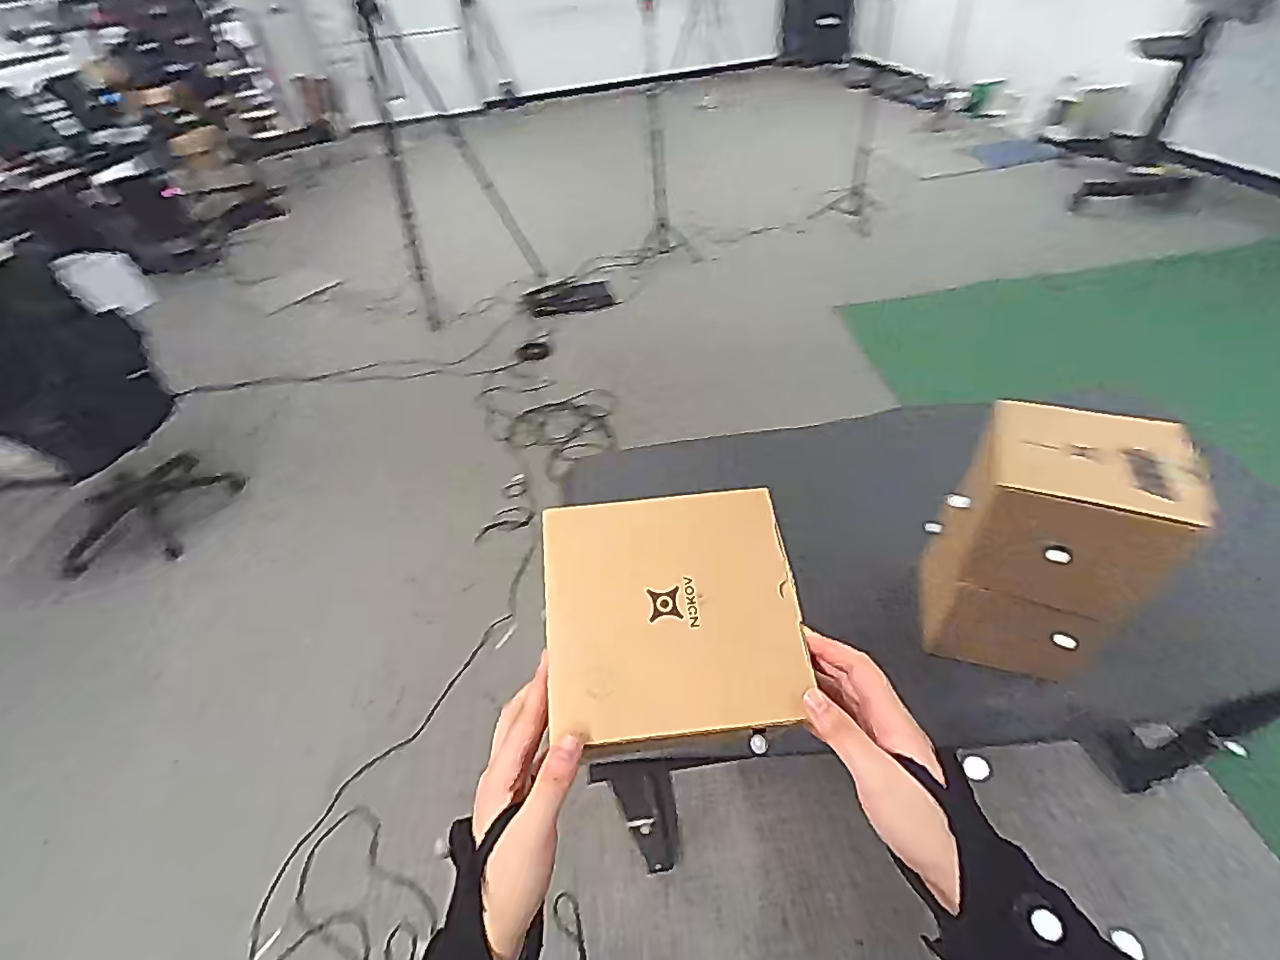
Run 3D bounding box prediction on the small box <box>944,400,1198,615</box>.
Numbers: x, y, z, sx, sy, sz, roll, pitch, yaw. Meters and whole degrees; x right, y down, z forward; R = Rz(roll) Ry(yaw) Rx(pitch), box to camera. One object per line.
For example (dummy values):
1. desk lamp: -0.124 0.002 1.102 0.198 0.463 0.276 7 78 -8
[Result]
1. small box: 0.484 0.033 0.637 0.179 0.176 0.168 14 48 23
